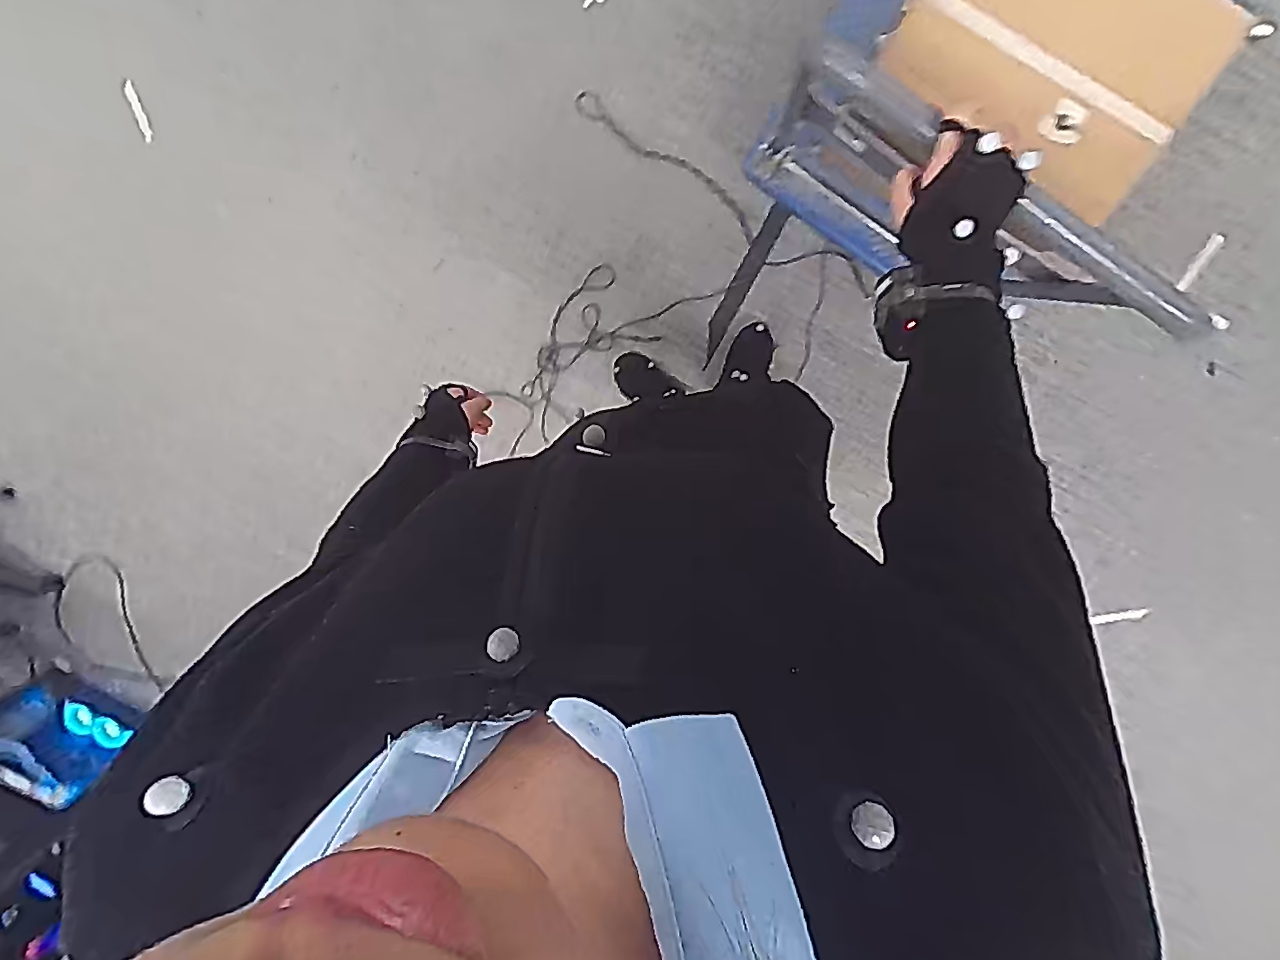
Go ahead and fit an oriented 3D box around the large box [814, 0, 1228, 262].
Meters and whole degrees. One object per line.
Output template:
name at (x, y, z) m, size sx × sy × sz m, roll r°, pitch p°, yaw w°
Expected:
large box at (0.572, -0.619, 0.913) m, size 0.408 × 0.320 × 0.320 m, roll 29°, pitch 110°, yaw -3°
